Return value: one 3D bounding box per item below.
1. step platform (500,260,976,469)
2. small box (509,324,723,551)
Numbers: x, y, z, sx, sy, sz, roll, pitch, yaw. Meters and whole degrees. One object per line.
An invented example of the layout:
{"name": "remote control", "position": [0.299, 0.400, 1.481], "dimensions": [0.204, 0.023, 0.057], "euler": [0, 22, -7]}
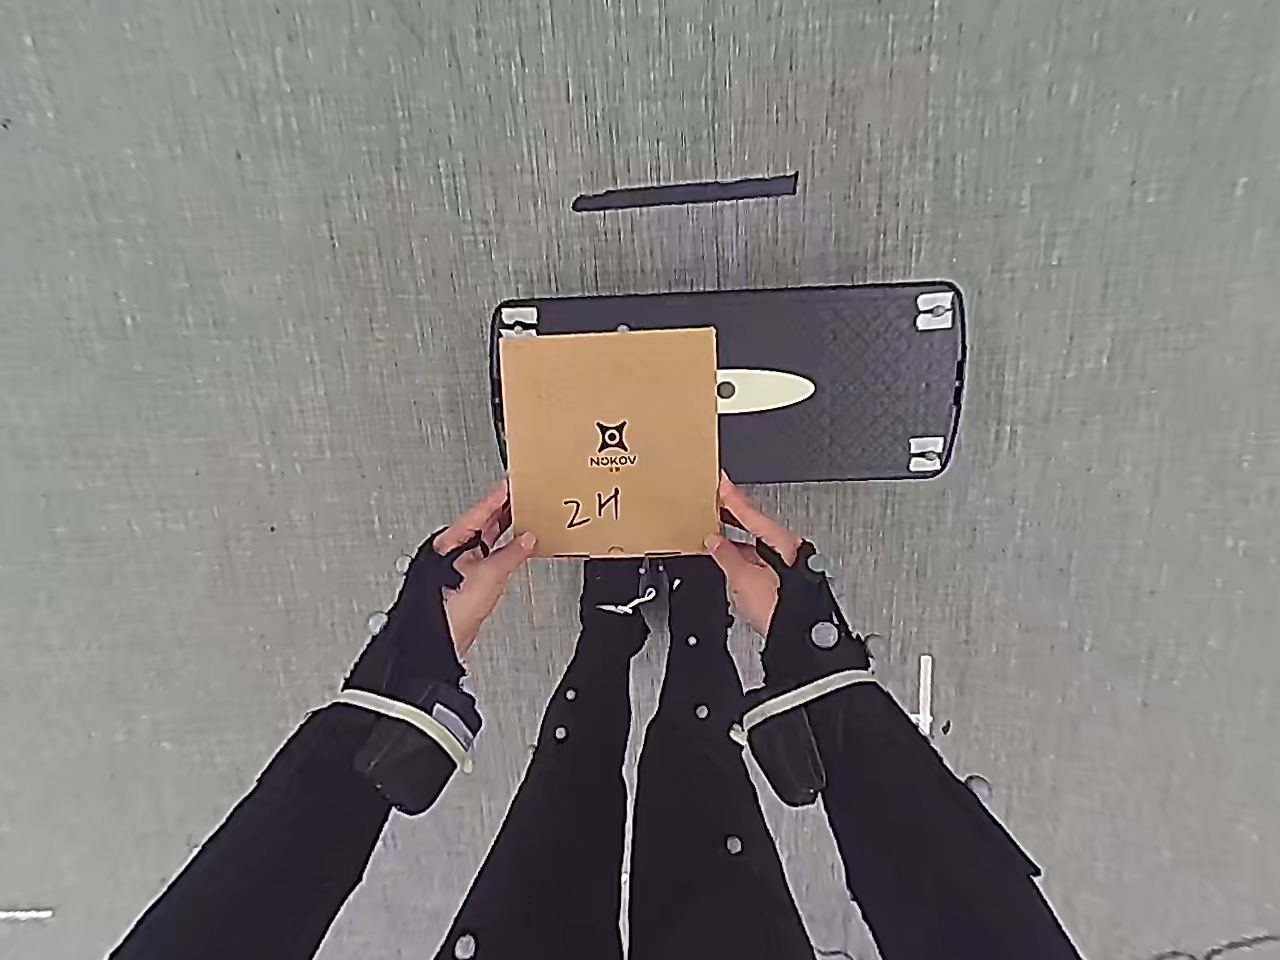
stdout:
{"name": "step platform", "position": [0.135, -0.167, 0.839], "dimensions": [0.684, 0.204, 0.286], "euler": [-2, 102, 3]}
{"name": "small box", "position": [-0.014, -0.040, 0.500], "dimensions": [0.168, 0.176, 0.179], "euler": [-1, 98, 4]}
